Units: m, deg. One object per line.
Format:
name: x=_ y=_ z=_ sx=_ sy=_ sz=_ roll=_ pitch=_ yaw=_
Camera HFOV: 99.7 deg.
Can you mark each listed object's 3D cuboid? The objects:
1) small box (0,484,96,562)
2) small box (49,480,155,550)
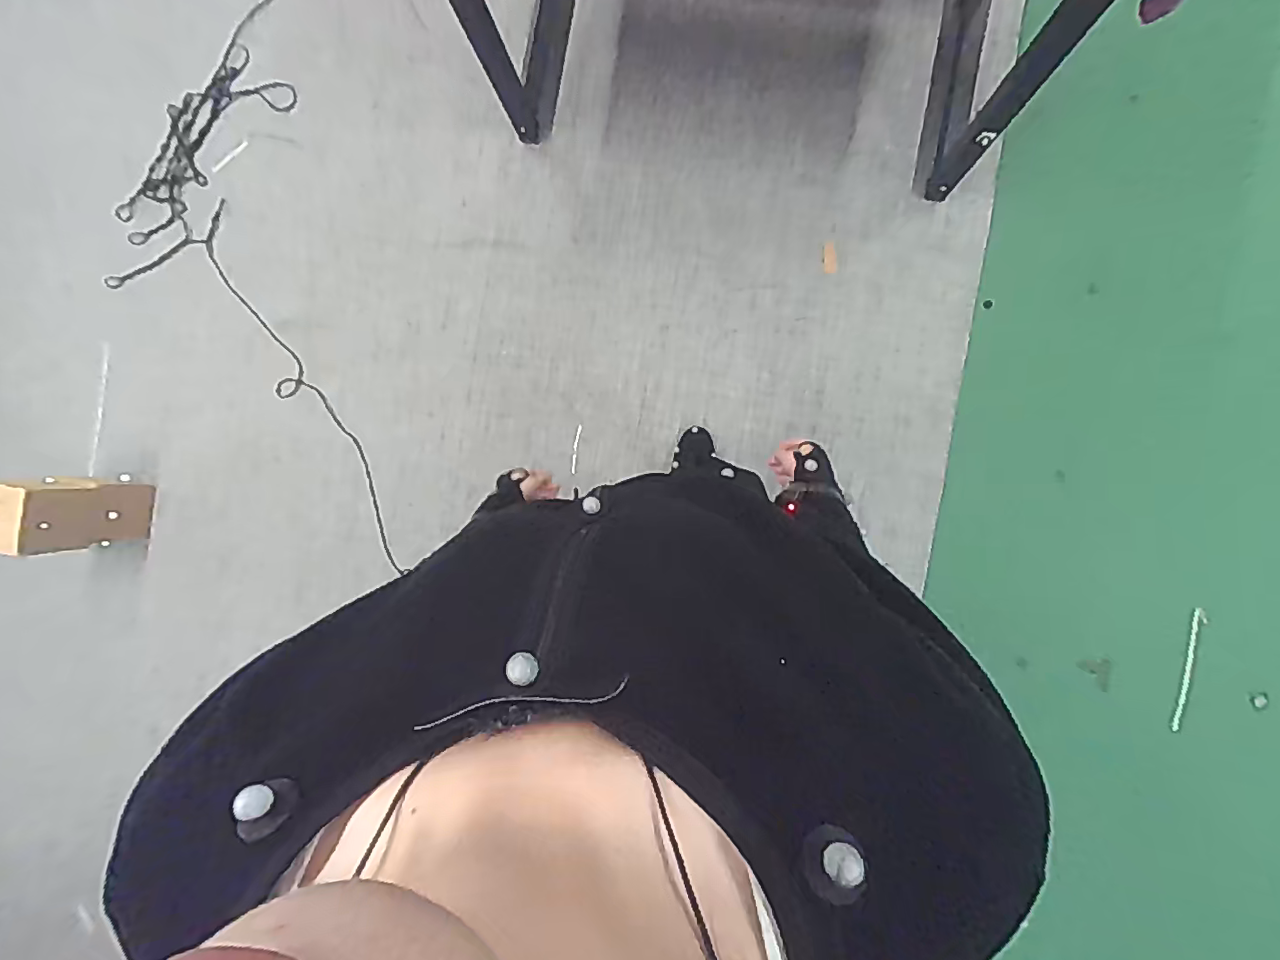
small box: x=-1.613 y=0.107 z=1.437 sx=0.168 sy=0.176 sz=0.179 roll=9 pitch=90 yaw=5
small box: x=-1.594 y=0.099 z=1.600 sx=0.168 sy=0.176 sz=0.179 roll=8 pitch=90 yaw=6
